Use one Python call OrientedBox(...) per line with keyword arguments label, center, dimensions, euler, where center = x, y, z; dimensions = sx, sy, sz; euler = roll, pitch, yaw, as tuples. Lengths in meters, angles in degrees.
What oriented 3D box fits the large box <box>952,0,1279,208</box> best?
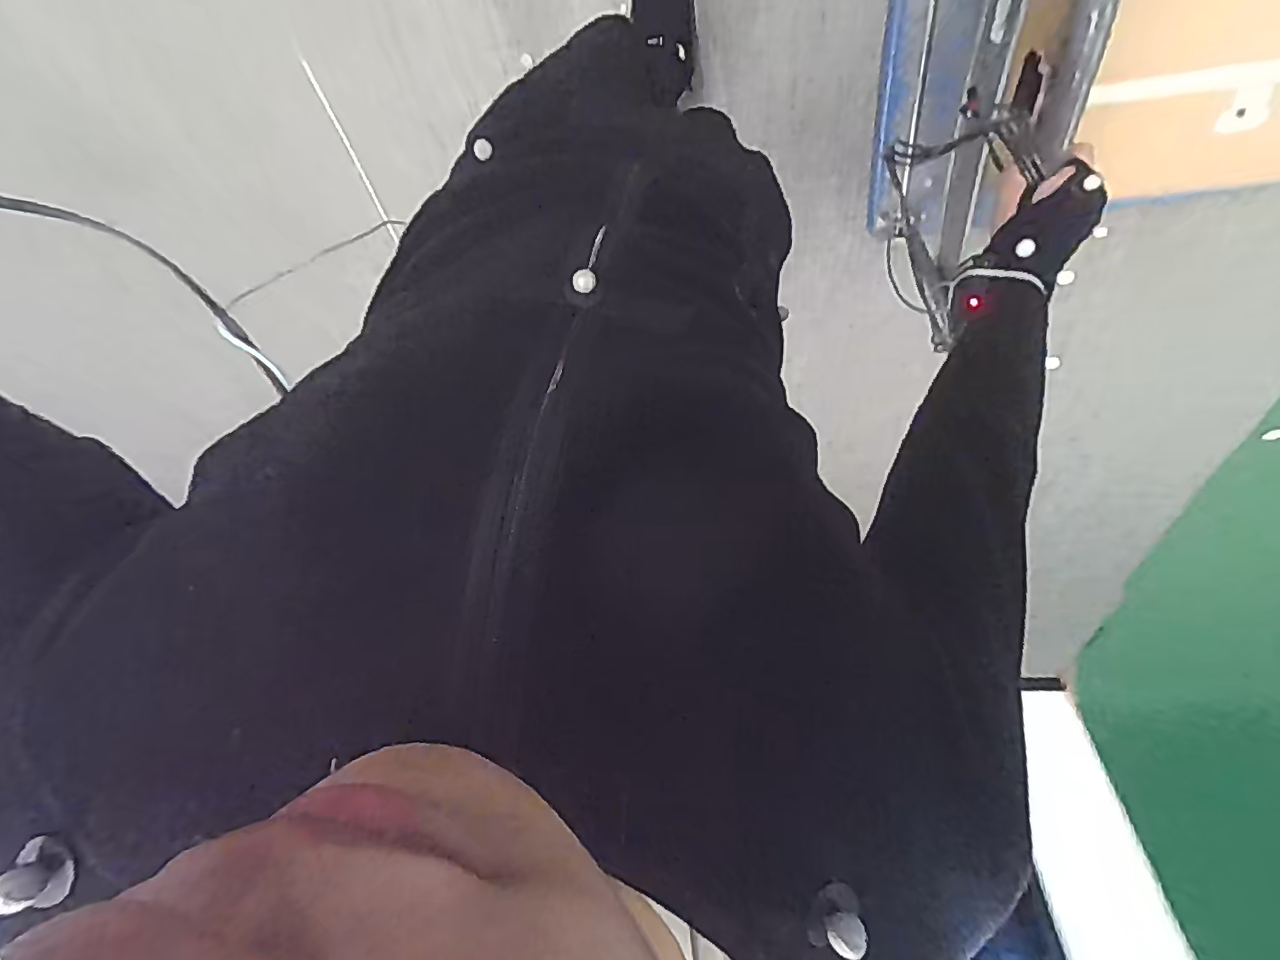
OrientedBox(label="large box", center=(0.784, -0.668, 0.852), dimensions=(0.408, 0.320, 0.320), euler=(-2, 137, 9))
